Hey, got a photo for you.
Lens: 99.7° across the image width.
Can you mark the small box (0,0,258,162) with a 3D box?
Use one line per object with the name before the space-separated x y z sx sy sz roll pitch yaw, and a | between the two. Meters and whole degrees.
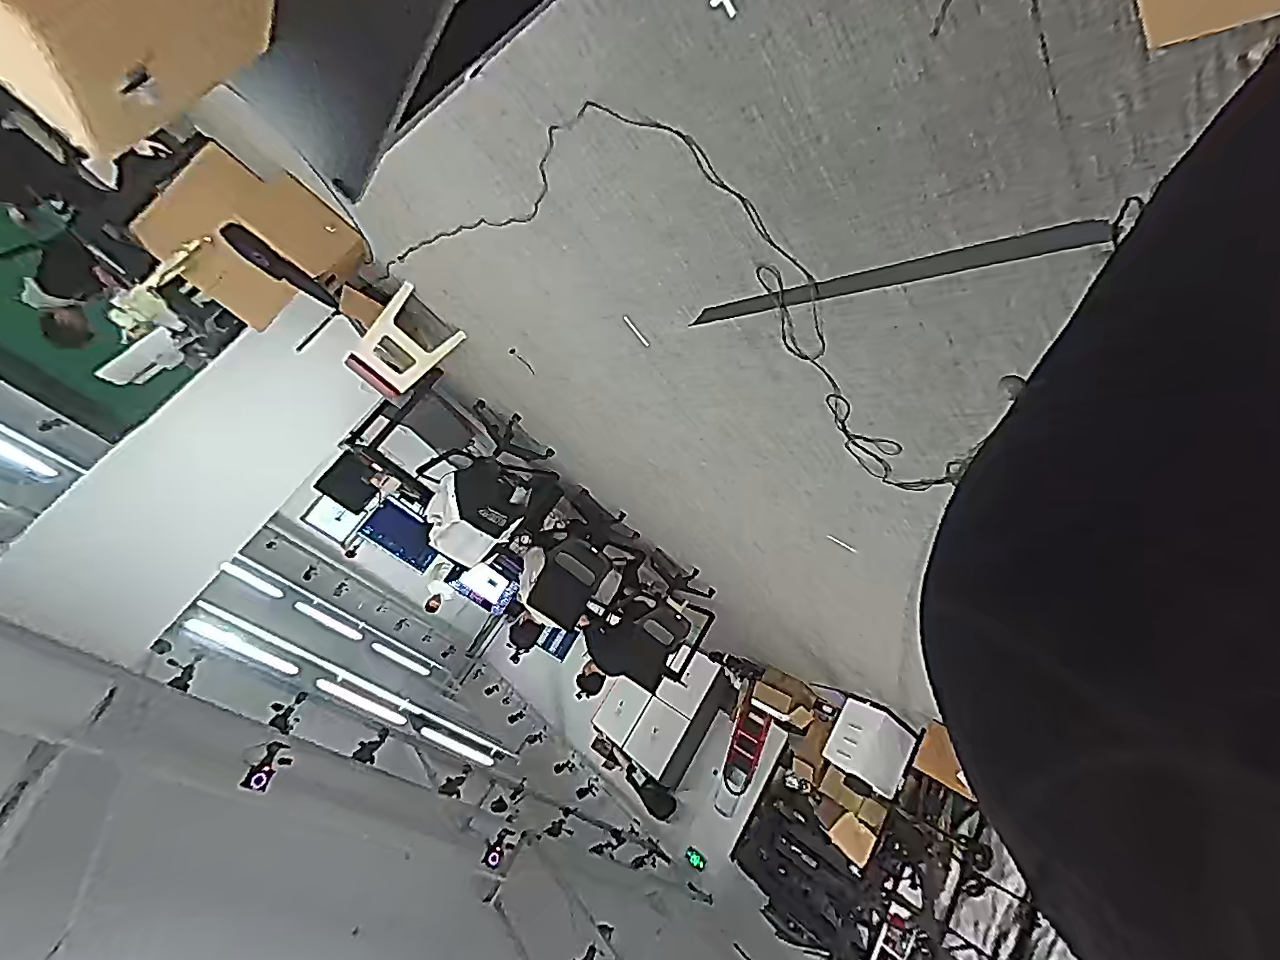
small box | -0.351 -0.334 0.307 0.168 0.176 0.179 44 159 -31
